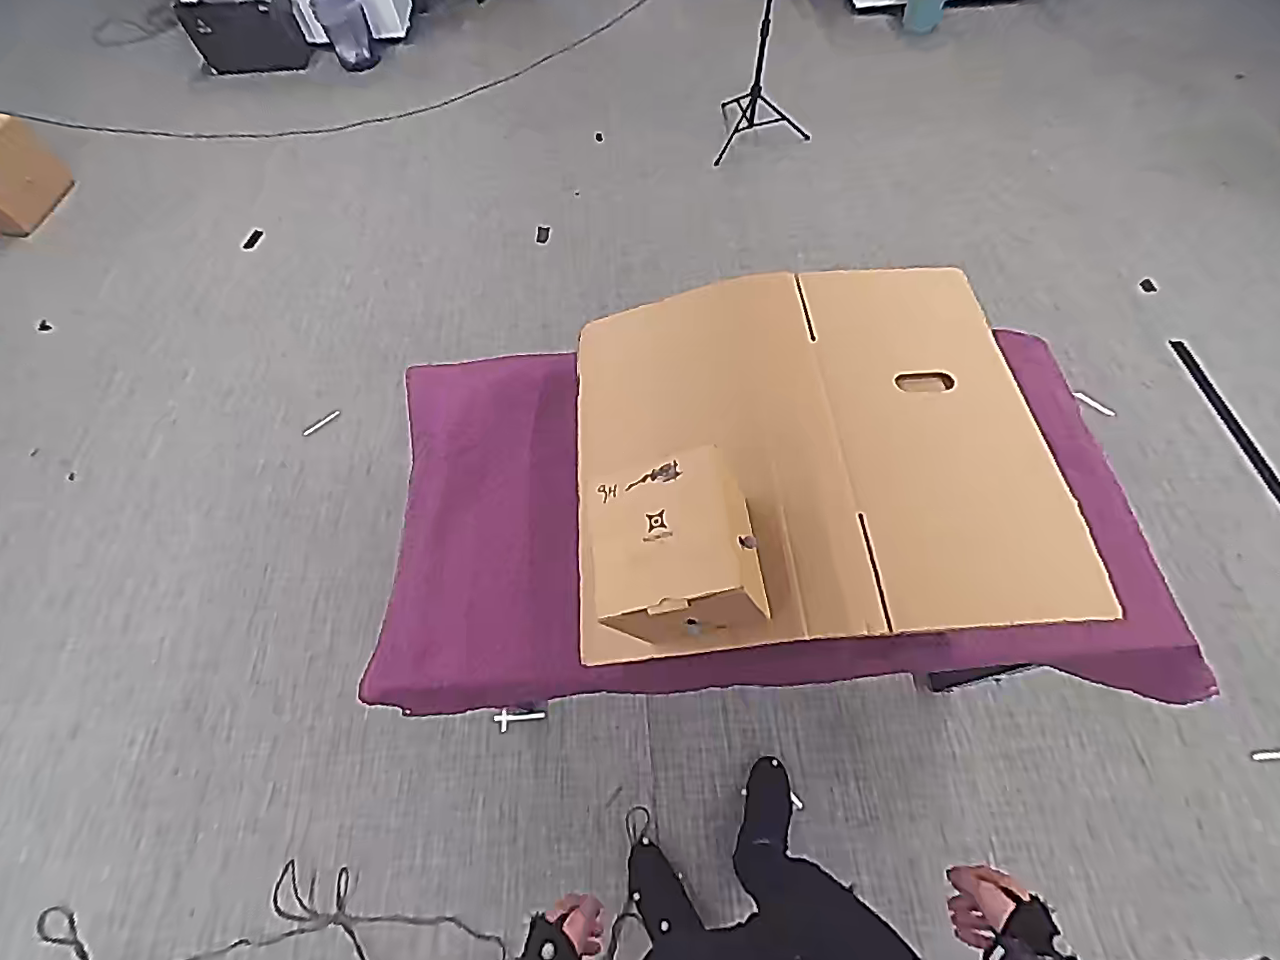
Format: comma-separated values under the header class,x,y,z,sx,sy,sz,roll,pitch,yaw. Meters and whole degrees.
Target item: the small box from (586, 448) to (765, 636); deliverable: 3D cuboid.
class,x,y,z,sx,sy,sz,roll,pitch,yaw
small box,0.048,0.090,0.670,0.168,0.176,0.179,-16,62,16
